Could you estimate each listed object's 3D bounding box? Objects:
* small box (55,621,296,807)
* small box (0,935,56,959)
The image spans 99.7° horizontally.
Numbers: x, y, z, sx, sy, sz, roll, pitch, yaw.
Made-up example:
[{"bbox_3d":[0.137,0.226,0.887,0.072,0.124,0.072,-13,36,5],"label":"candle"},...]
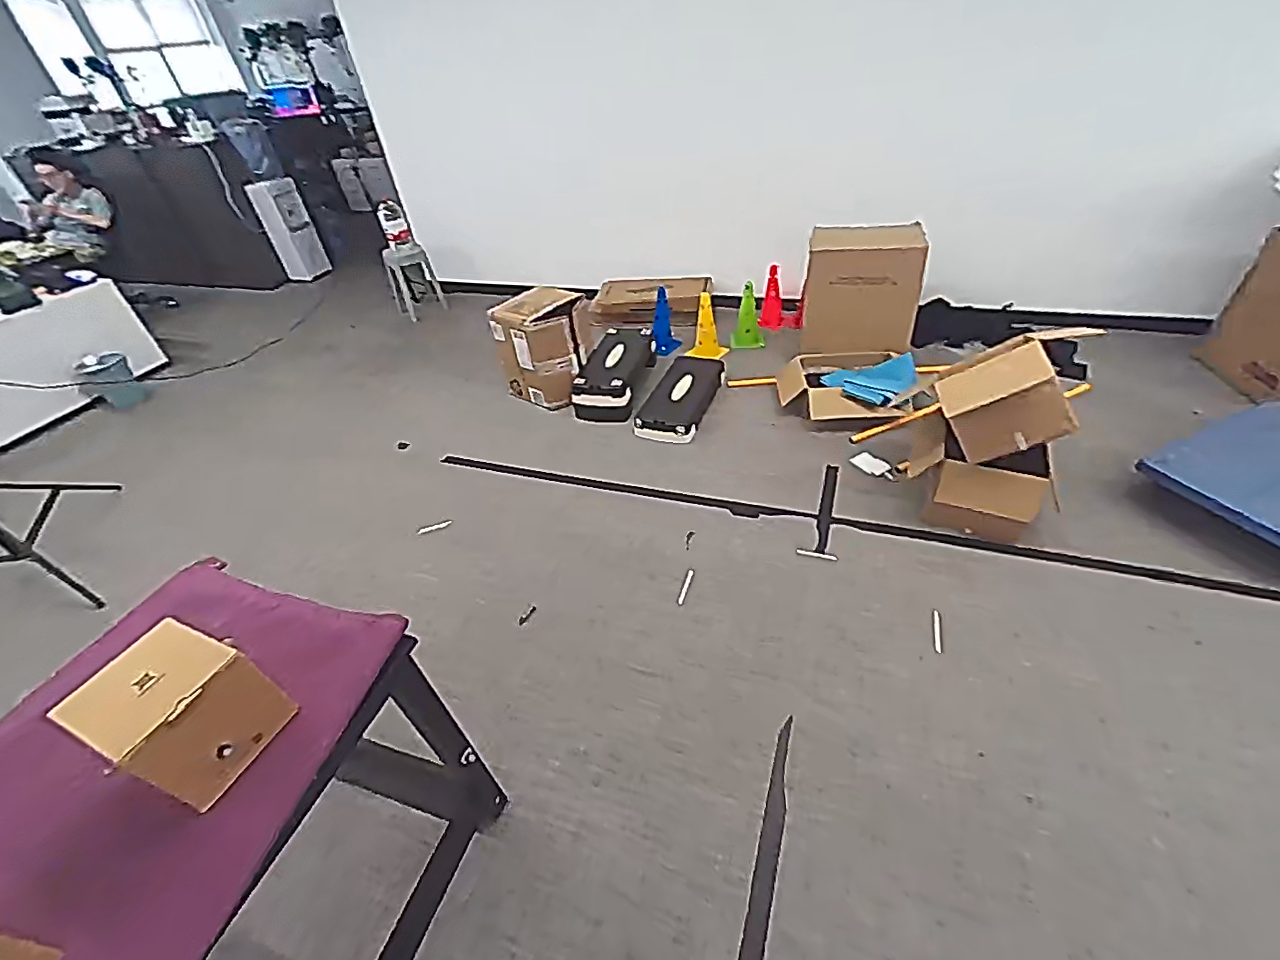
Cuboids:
[{"bbox_3d":[-0.659,0.340,0.789,0.179,0.176,0.168,11,43,22],"label":"small box"},{"bbox_3d":[-0.785,0.556,0.550,0.179,0.176,0.168,2,40,12],"label":"small box"}]
